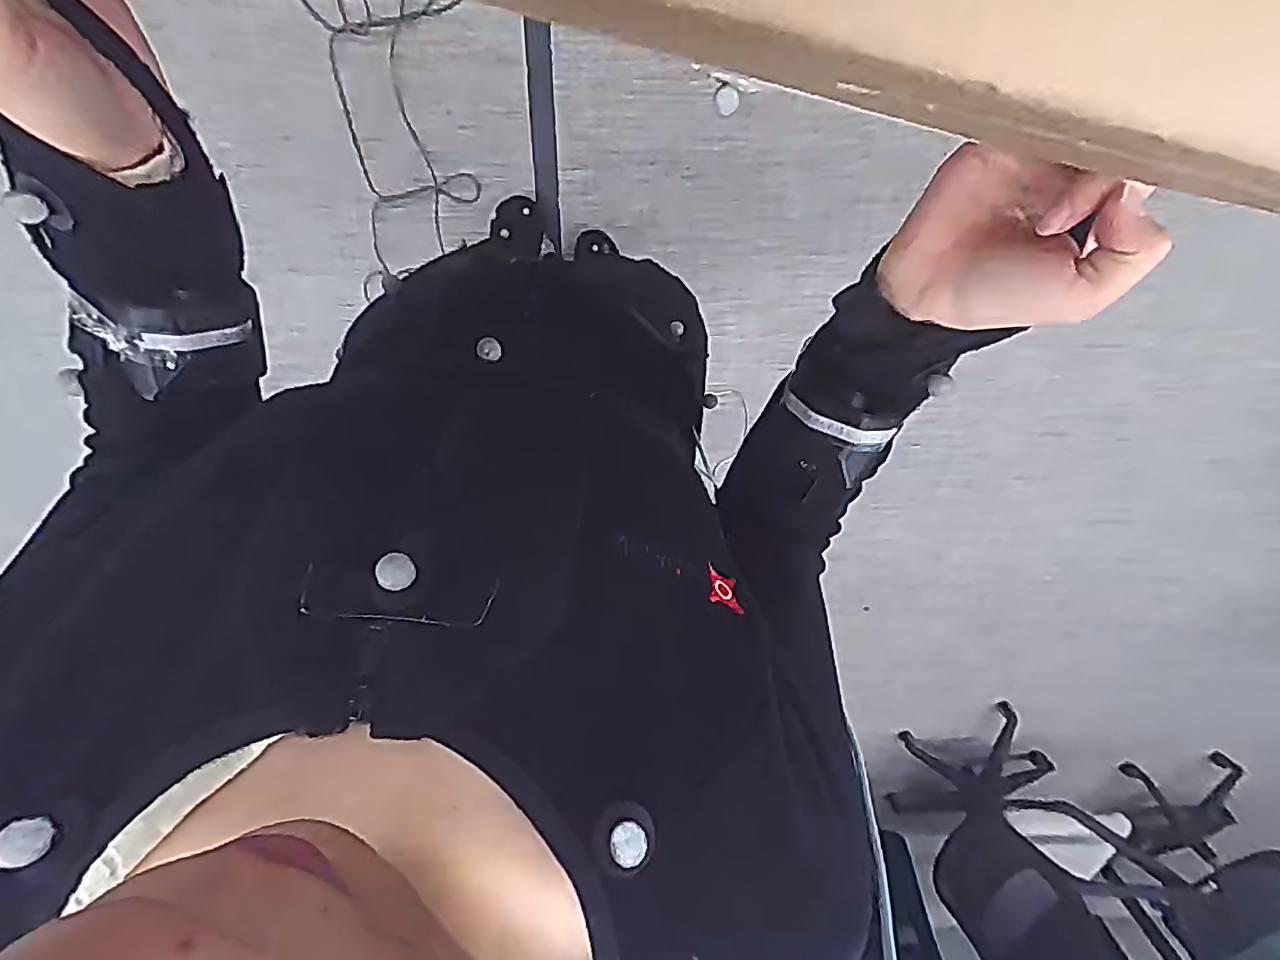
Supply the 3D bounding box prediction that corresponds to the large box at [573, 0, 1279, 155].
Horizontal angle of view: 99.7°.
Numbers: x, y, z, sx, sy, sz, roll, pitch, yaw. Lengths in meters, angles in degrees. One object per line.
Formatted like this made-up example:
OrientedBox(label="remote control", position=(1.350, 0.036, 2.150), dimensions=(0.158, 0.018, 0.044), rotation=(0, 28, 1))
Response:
OrientedBox(label="large box", position=(0.012, -0.291, 0.094), dimensions=(0.408, 0.320, 0.320), rotation=(8, 129, -8))
